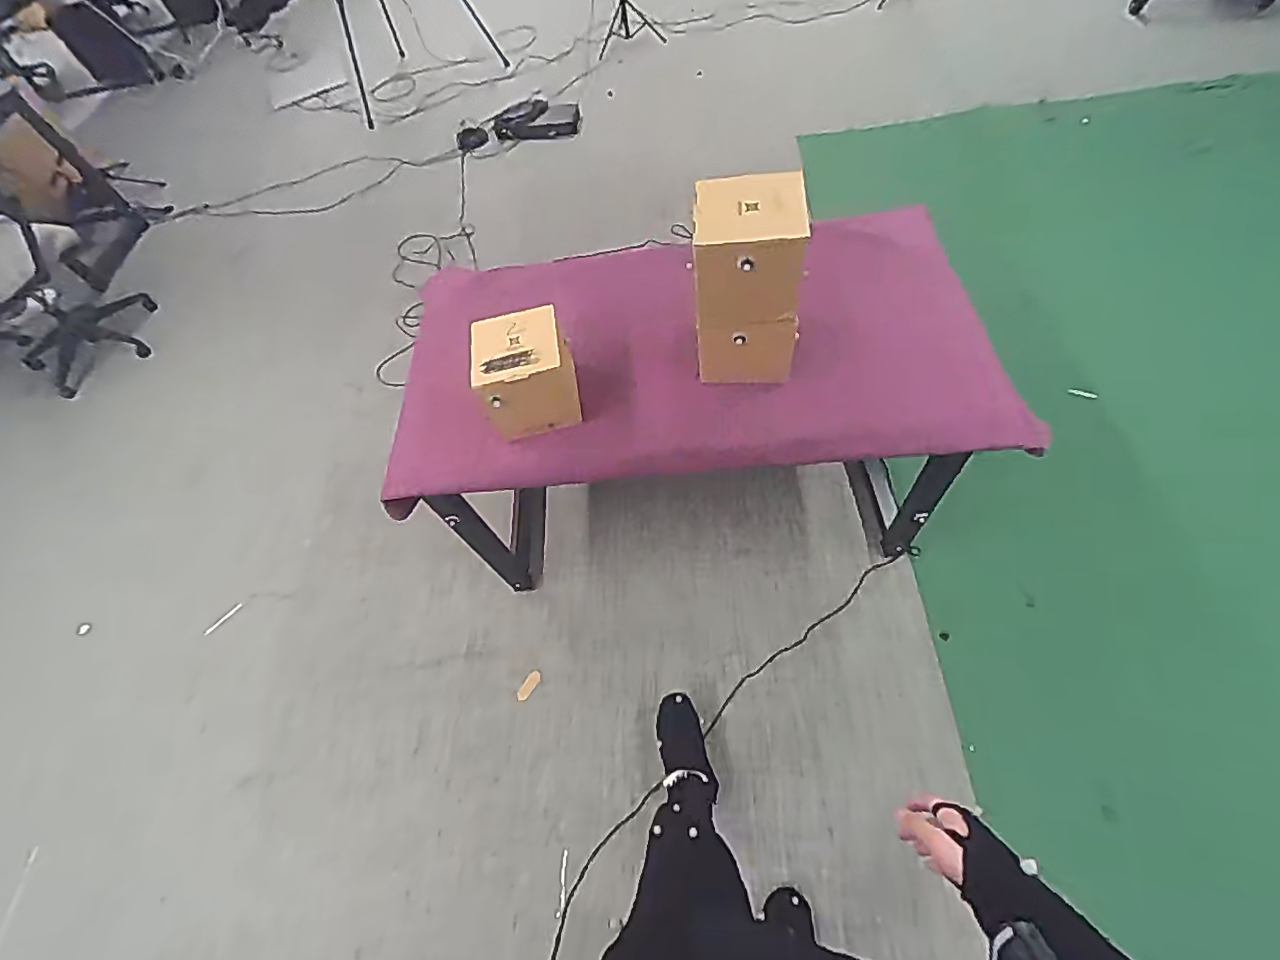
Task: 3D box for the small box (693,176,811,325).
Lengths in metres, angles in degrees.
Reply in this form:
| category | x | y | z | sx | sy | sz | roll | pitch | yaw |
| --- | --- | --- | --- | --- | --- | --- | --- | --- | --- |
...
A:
| category | x | y | z | sx | sy | sz | roll | pitch | yaw |
| --- | --- | --- | --- | --- | --- | --- | --- | --- | --- |
| small box | 0.186 | -0.380 | 0.916 | 0.179 | 0.176 | 0.168 | 0 | 61 | 9 |

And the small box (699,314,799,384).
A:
| category | x | y | z | sx | sy | sz | roll | pitch | yaw |
| --- | --- | --- | --- | --- | --- | --- | --- | --- | --- |
| small box | 0.210 | -0.301 | 1.056 | 0.179 | 0.176 | 0.168 | 1 | 60 | 9 |
